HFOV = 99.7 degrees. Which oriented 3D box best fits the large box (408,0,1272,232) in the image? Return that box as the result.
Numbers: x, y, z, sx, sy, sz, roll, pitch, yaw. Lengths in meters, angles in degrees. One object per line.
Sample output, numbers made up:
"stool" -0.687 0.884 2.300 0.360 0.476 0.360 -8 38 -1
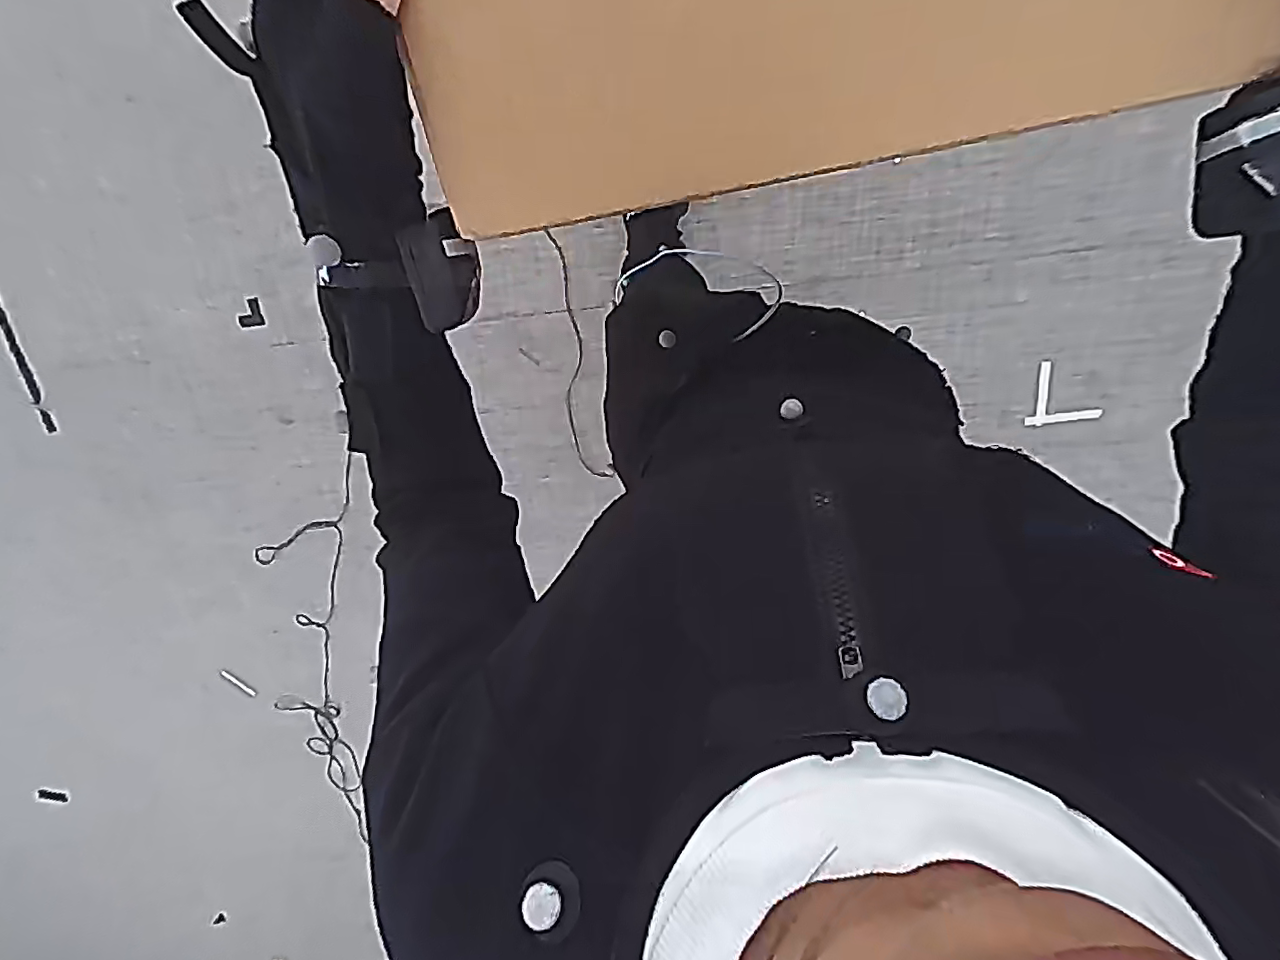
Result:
"large box" 0.077 -0.374 0.347 0.408 0.320 0.320 -8 118 7
